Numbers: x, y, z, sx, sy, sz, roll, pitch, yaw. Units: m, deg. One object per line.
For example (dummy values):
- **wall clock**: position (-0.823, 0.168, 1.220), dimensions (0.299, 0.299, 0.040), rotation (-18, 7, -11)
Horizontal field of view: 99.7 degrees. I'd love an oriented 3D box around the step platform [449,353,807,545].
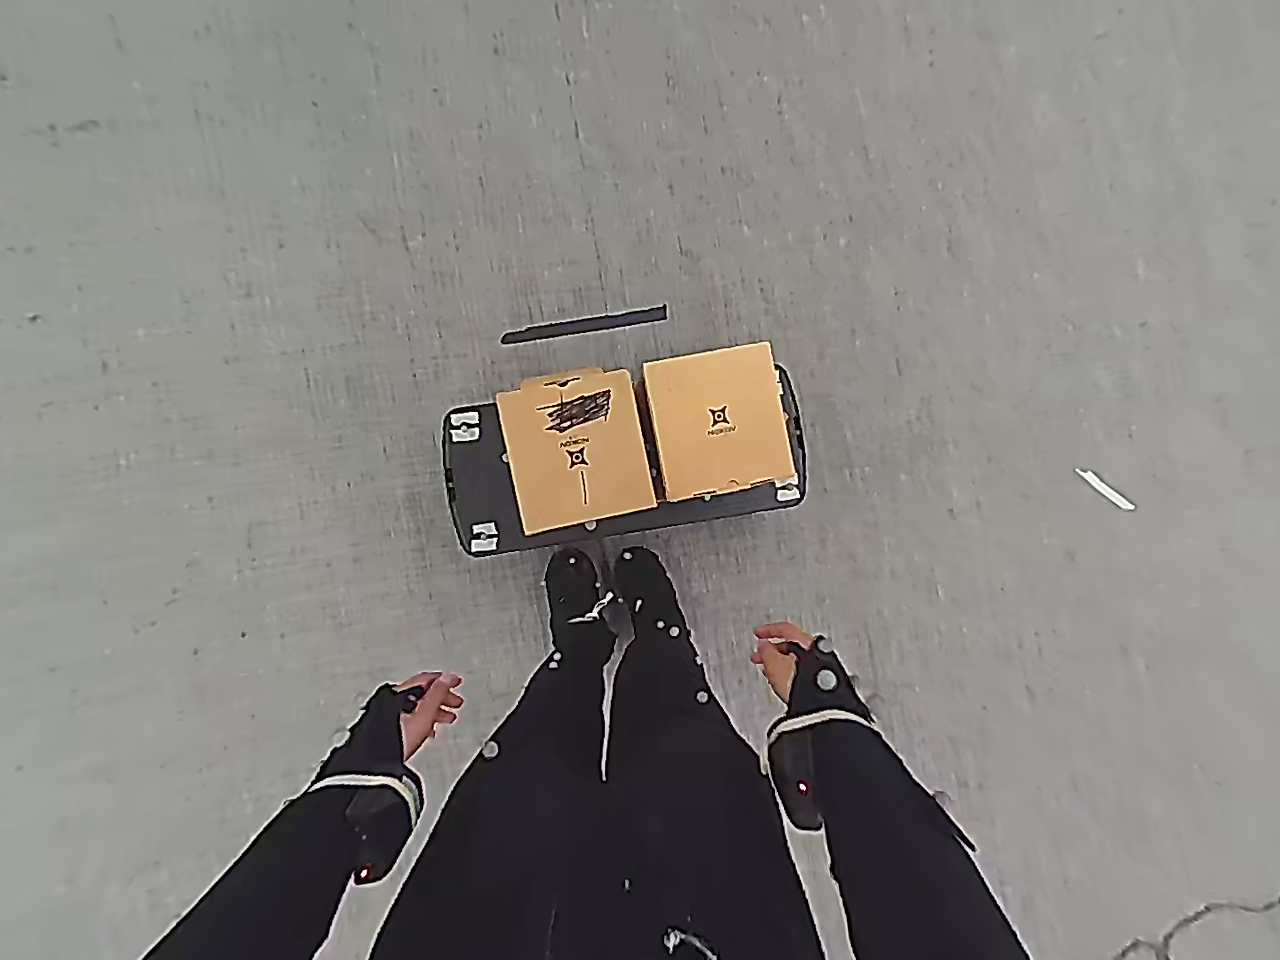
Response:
- **step platform**: position (-0.019, -0.060, 1.084), dimensions (0.684, 0.204, 0.286), rotation (-9, 89, -4)
